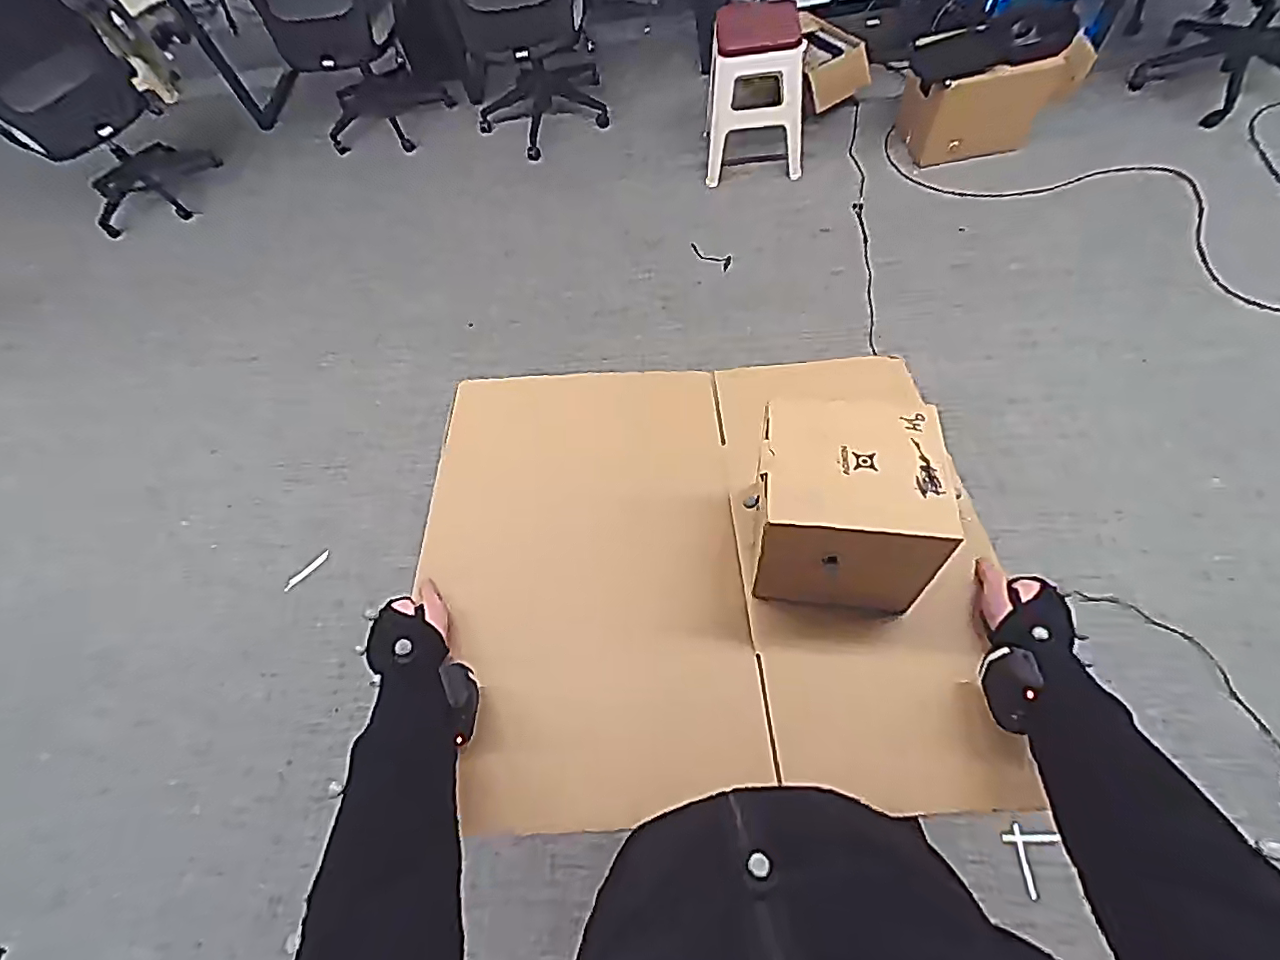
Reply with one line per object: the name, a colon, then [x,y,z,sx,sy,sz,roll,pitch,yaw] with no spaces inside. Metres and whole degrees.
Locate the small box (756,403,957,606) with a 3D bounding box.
small box: [0.224,0.031,0.612,0.179,0.176,0.168,3,55,10]
